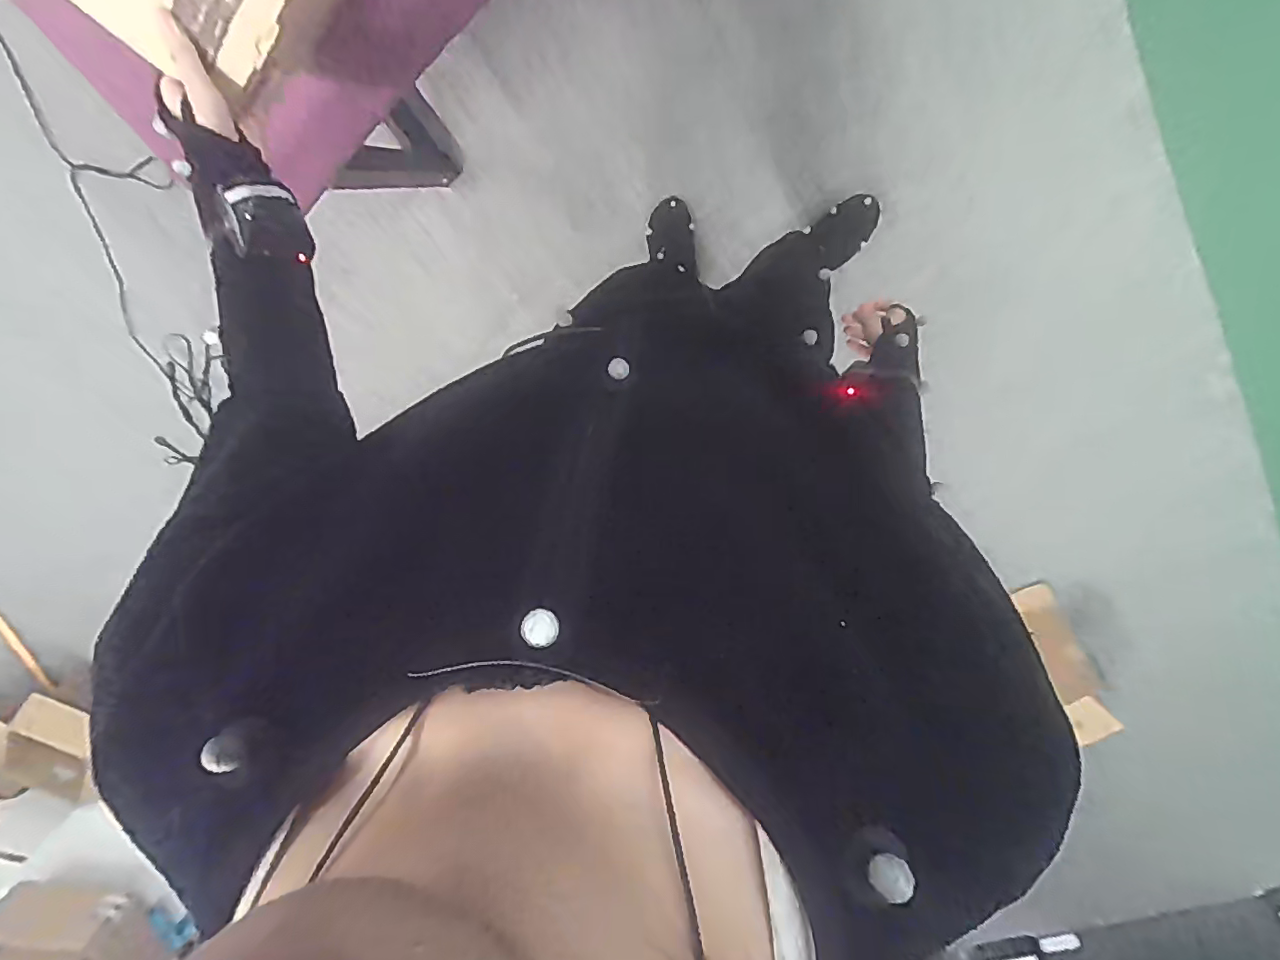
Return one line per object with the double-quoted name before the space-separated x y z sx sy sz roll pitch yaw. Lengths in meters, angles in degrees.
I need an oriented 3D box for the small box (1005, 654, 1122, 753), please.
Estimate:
"small box" 1.210 0.639 1.556 0.179 0.176 0.168 39 115 -14
